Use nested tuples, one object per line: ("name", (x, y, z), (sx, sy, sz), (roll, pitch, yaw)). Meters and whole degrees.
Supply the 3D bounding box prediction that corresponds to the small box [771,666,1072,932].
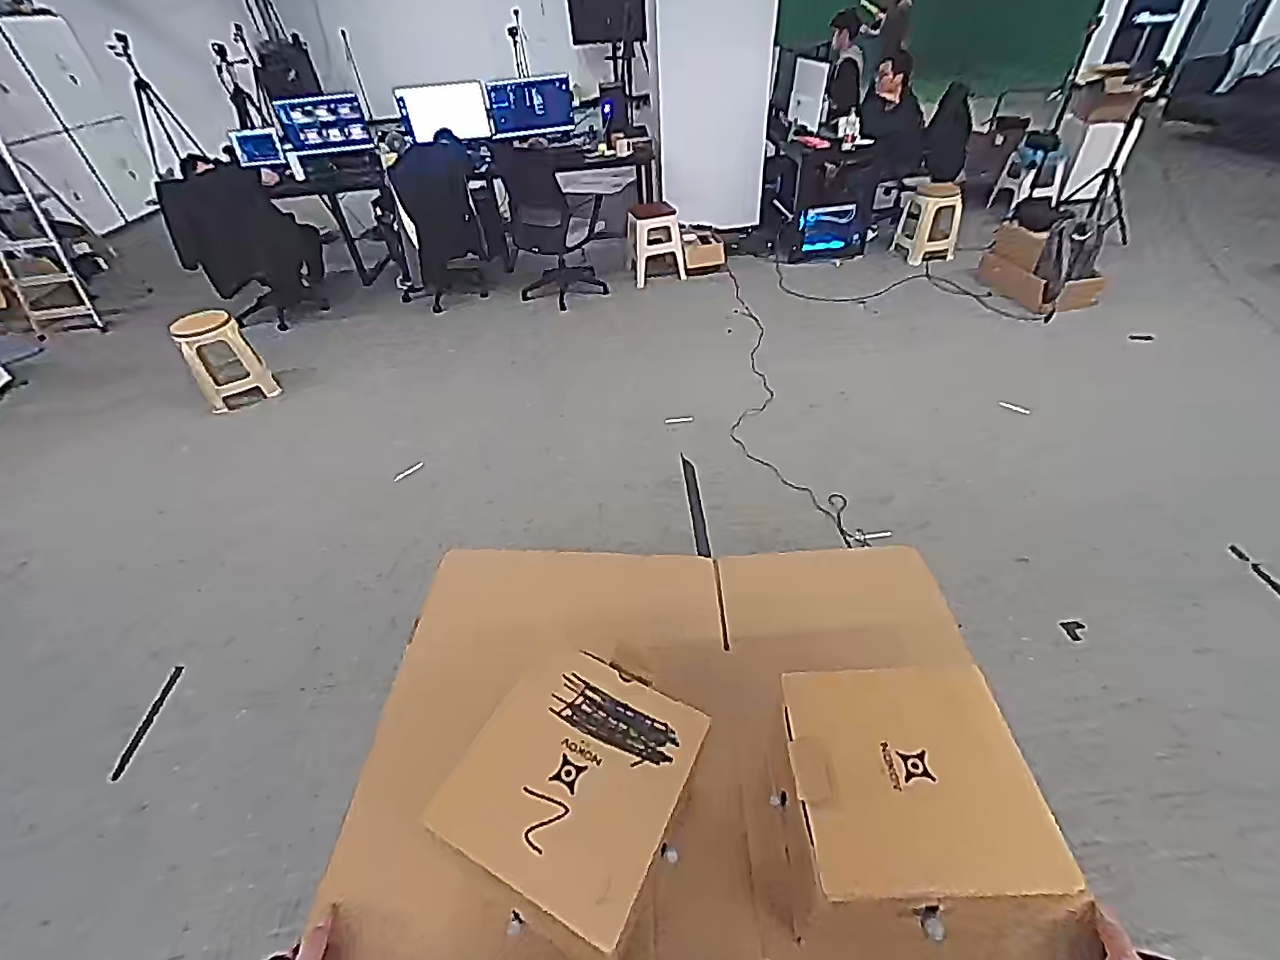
("small box", (0.223, 0.289, 0.490), (0.179, 0.176, 0.168), (-5, 41, 4))
